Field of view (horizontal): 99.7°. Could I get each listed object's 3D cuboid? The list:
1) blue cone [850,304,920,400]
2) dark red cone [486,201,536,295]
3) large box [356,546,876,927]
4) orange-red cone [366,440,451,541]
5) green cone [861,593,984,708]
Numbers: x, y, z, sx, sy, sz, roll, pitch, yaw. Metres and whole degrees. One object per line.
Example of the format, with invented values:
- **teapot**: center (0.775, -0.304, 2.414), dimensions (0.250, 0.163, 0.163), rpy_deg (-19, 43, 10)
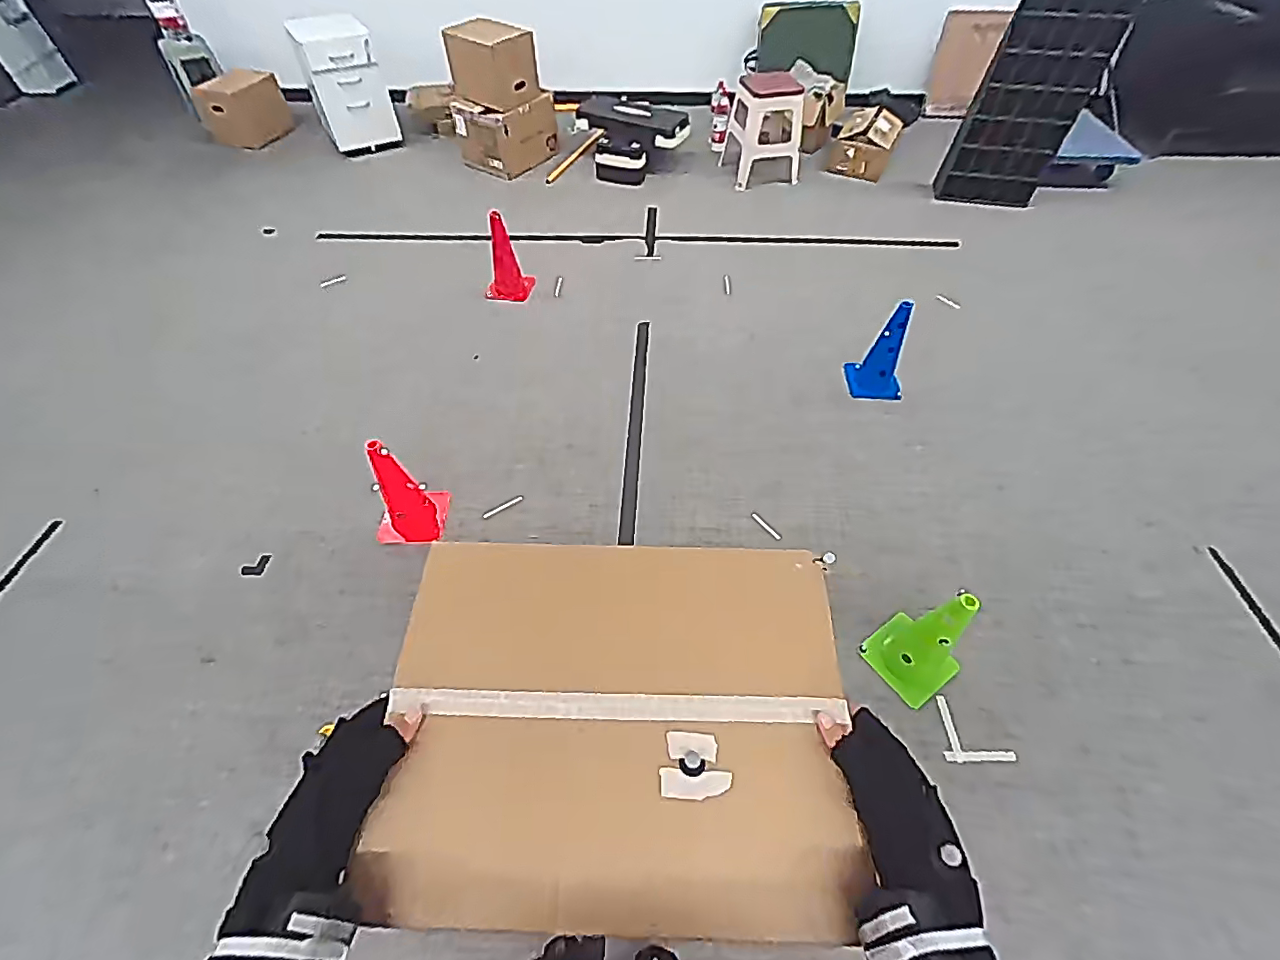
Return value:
- **blue cone**: center (0.942, -0.489, 2.025), dimensions (0.192, 0.380, 0.193), rpy_deg (5, 53, 3)
- **dark red cone**: center (-0.596, -1.027, 2.394), dimensions (0.201, 0.394, 0.202), rpy_deg (7, 53, 4)
- **large box**: center (-0.018, 0.284, 0.611), dimensions (0.408, 0.320, 0.320), rpy_deg (2, 57, 1)
- **orange-red cone**: center (-0.728, 0.011, 1.622), dimensions (0.198, 0.360, 0.199), rpy_deg (0, 54, 1)
- **green cone**: center (0.735, 0.381, 1.331), dimensions (0.202, 0.368, 0.200), rpy_deg (-28, 58, -22)
